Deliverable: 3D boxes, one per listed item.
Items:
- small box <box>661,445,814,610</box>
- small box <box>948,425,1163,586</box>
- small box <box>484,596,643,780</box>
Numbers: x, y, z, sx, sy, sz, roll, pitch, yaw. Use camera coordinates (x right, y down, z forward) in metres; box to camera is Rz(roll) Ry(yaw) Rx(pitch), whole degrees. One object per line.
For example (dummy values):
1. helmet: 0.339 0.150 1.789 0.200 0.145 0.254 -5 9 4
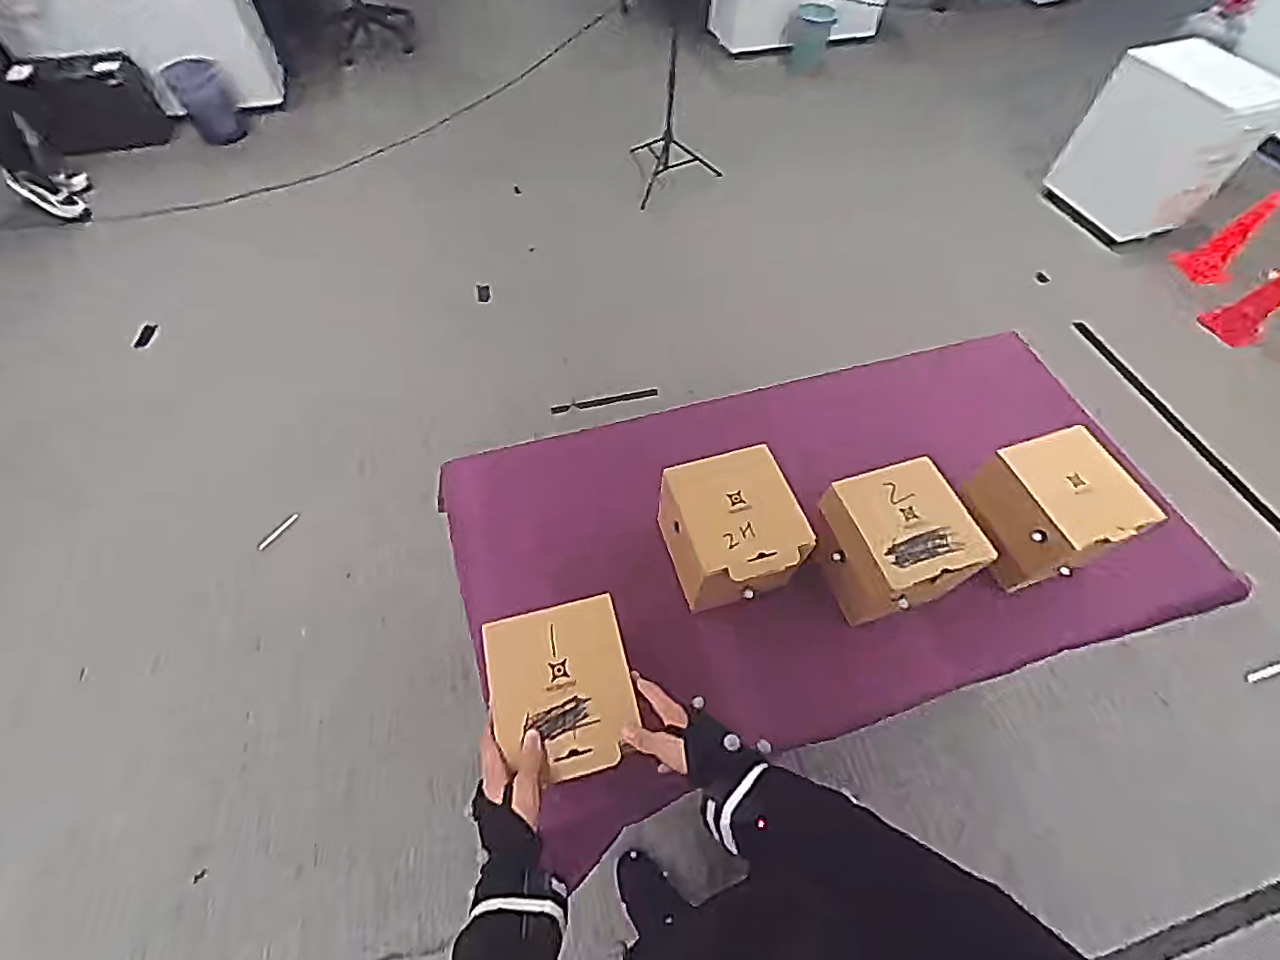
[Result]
1. small box: 0.135 0.077 0.834 0.168 0.176 0.179 -15 61 -9
2. small box: 0.642 0.044 0.866 0.168 0.176 0.179 -16 61 -11
3. small box: -0.095 0.277 0.708 0.168 0.176 0.179 -13 59 -9
